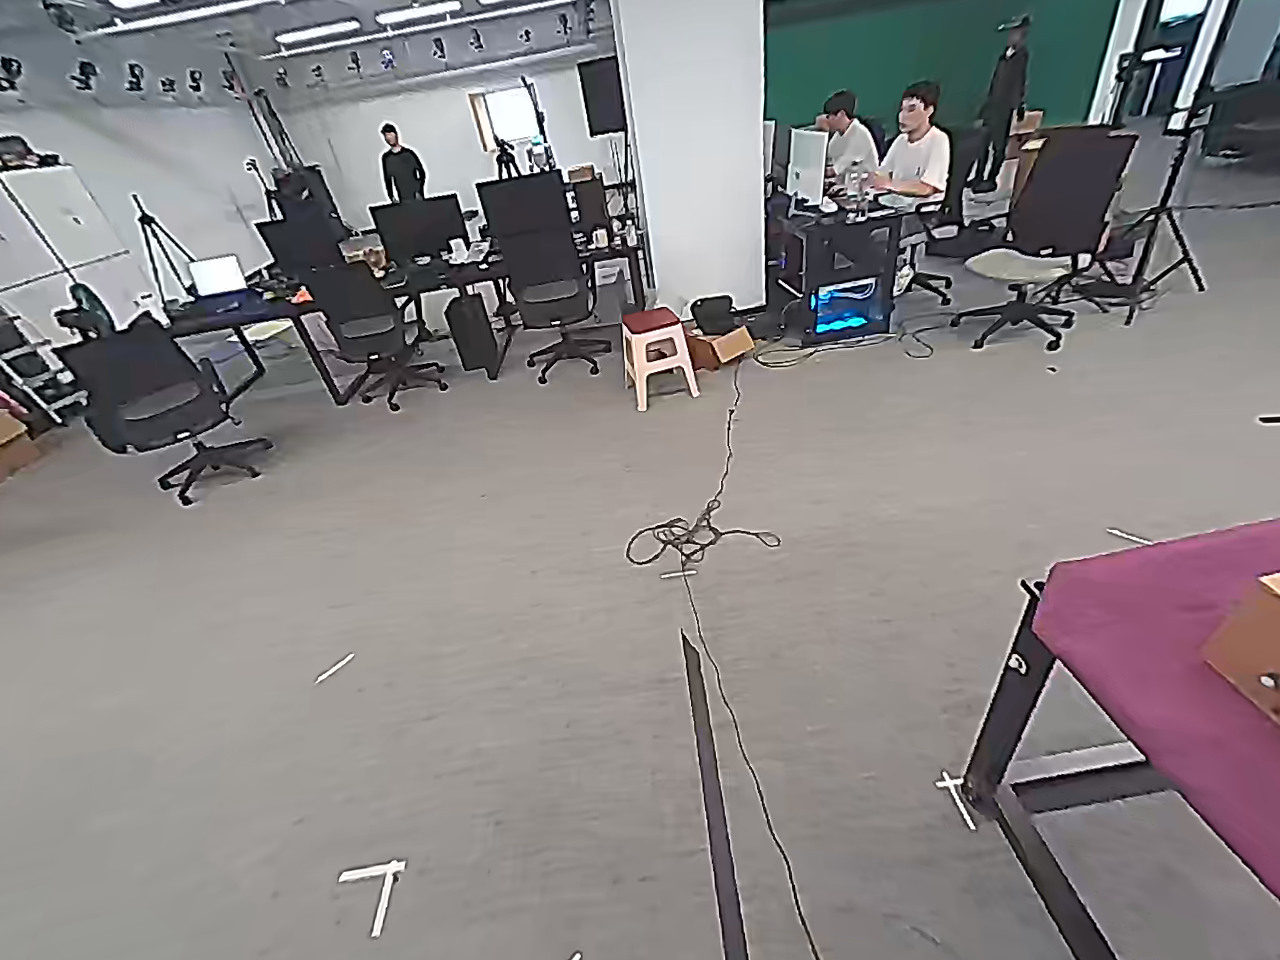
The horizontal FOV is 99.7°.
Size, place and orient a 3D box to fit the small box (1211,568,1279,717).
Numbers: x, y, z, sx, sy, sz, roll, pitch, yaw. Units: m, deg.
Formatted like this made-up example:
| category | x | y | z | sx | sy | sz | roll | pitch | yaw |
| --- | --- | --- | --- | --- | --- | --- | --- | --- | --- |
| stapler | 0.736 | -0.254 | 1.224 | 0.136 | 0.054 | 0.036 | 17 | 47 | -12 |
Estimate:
| category | x | y | z | sx | sy | sz | roll | pitch | yaw |
| --- | --- | --- | --- | --- | --- | --- | --- | --- | --- |
| small box | 0.914 | 0.217 | 0.689 | 0.179 | 0.176 | 0.168 | -11 | 36 | 0 |
